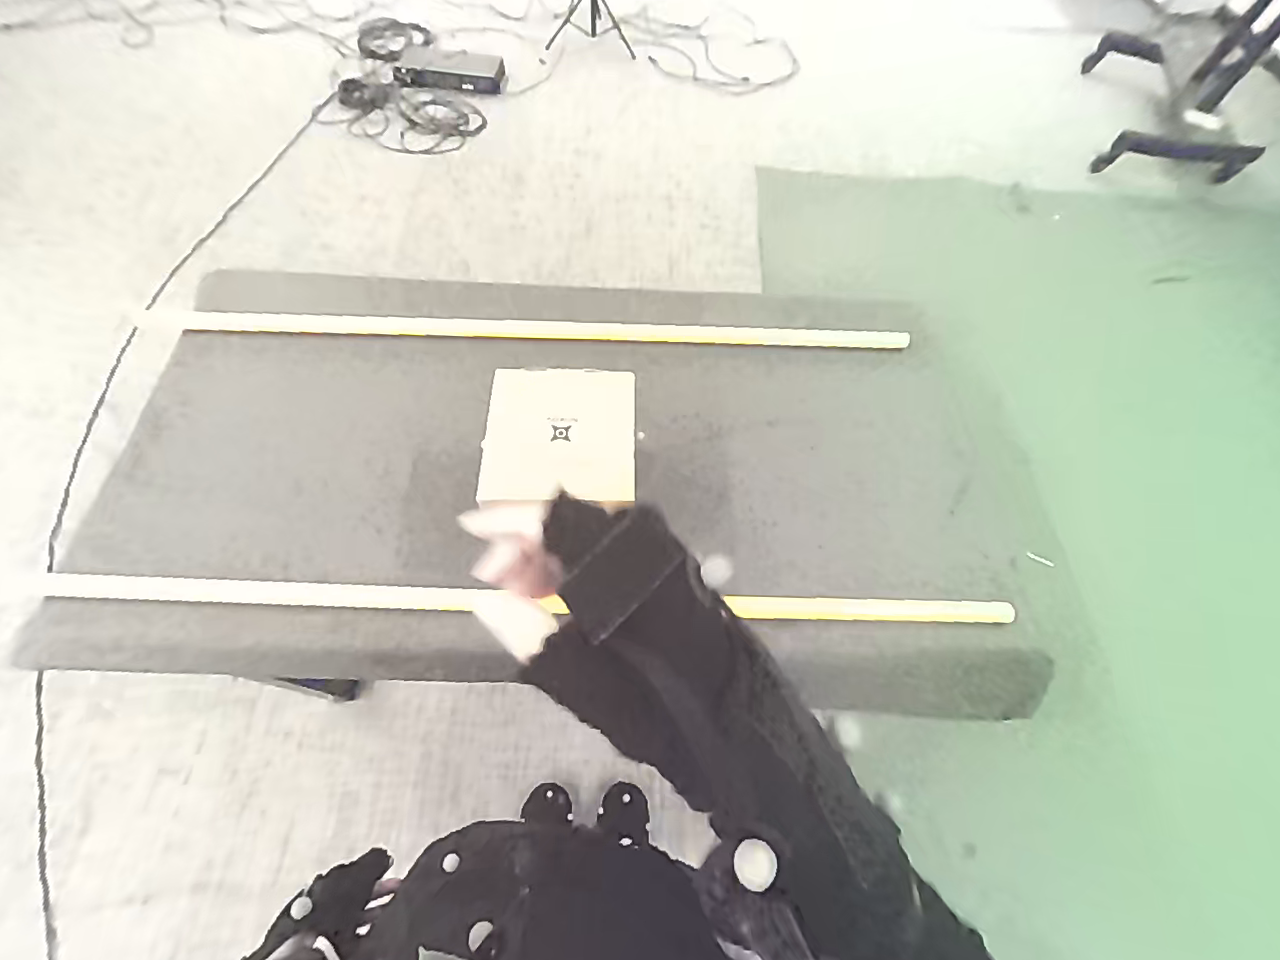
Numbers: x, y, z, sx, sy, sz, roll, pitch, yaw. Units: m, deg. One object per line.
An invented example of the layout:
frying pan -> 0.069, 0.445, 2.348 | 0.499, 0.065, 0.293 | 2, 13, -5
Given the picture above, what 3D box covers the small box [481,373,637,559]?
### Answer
small box -> -0.090, -0.012, 0.676 | 0.168, 0.176, 0.179 | 0, 62, -2
